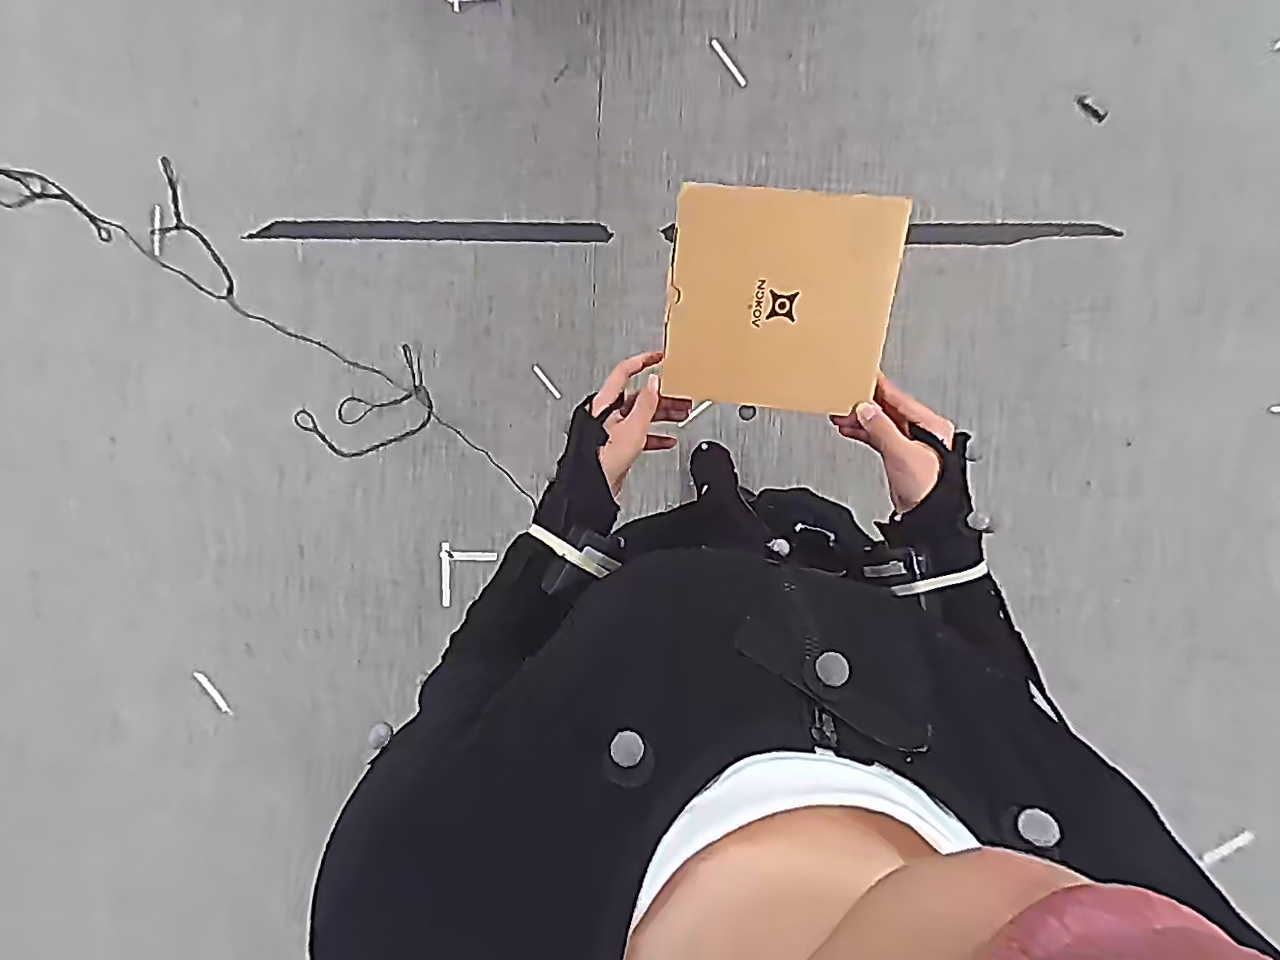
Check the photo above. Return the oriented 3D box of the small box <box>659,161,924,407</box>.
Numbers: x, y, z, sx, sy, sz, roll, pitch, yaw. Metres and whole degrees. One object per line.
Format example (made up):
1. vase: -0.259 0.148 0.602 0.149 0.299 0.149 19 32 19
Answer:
1. small box: 0.121 -0.170 0.493 0.179 0.176 0.168 9 106 6
